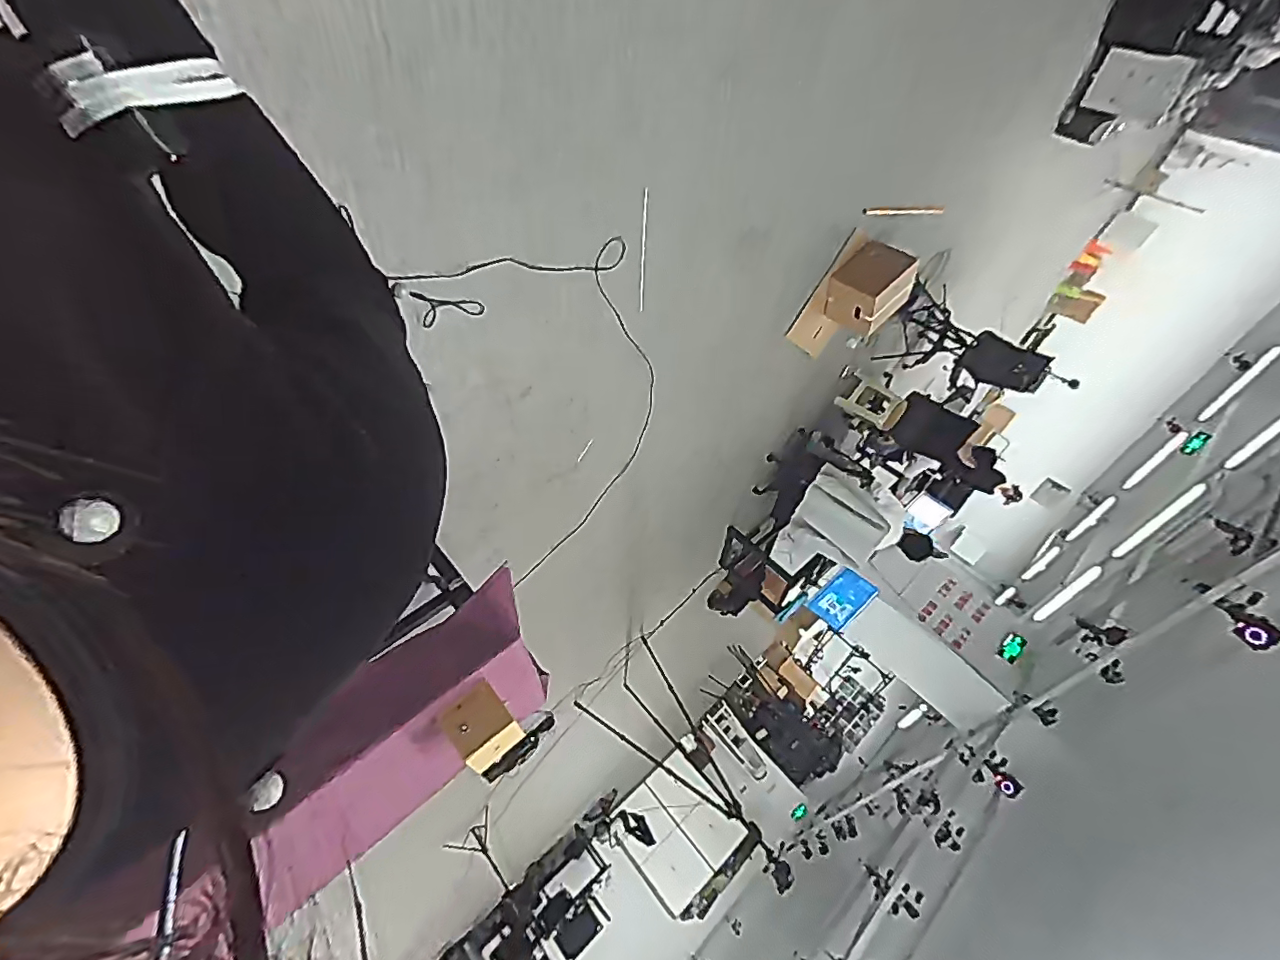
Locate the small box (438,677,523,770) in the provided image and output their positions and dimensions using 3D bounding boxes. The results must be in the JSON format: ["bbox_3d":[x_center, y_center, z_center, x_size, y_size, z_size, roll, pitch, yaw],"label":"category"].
[{"bbox_3d":[-0.473,0.719,1.606,0.168,0.176,0.179,-35,150,-24],"label":"small box"}]
